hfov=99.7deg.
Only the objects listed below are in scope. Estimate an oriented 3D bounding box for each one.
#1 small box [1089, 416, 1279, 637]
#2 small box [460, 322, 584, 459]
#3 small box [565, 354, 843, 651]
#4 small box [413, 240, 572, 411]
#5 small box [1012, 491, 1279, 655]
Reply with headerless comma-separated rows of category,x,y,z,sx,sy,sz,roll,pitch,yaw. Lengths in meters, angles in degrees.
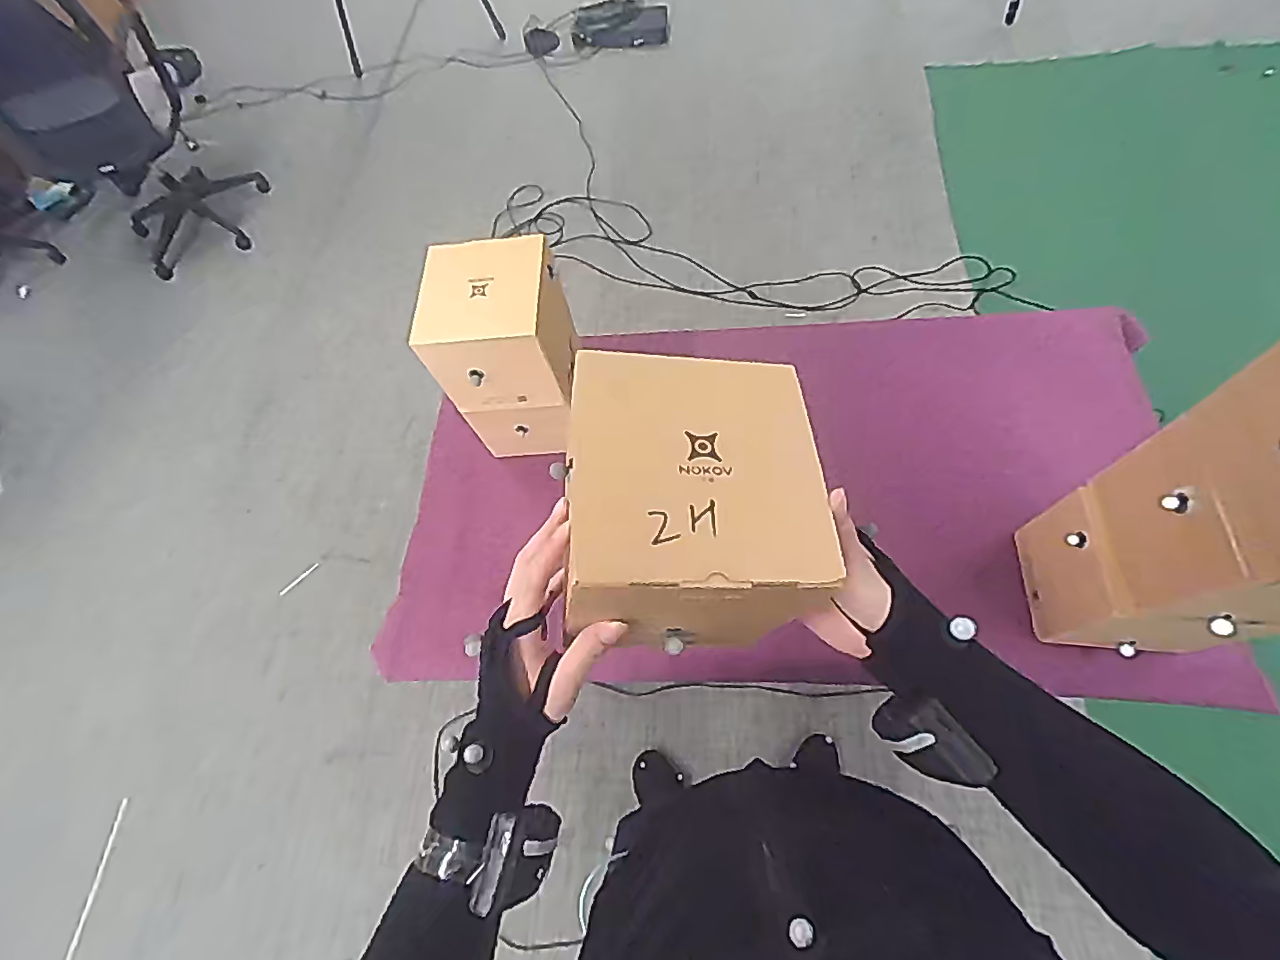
small box,0.614,0.052,0.558,0.168,0.176,0.179,2,65,10
small box,-0.186,-0.147,0.930,0.179,0.176,0.168,-4,65,5
small box,0.028,0.028,0.428,0.168,0.176,0.179,2,61,-9
small box,-0.199,-0.211,0.781,0.168,0.176,0.179,-3,64,5
small box,0.630,0.126,0.702,0.179,0.176,0.168,3,64,8
